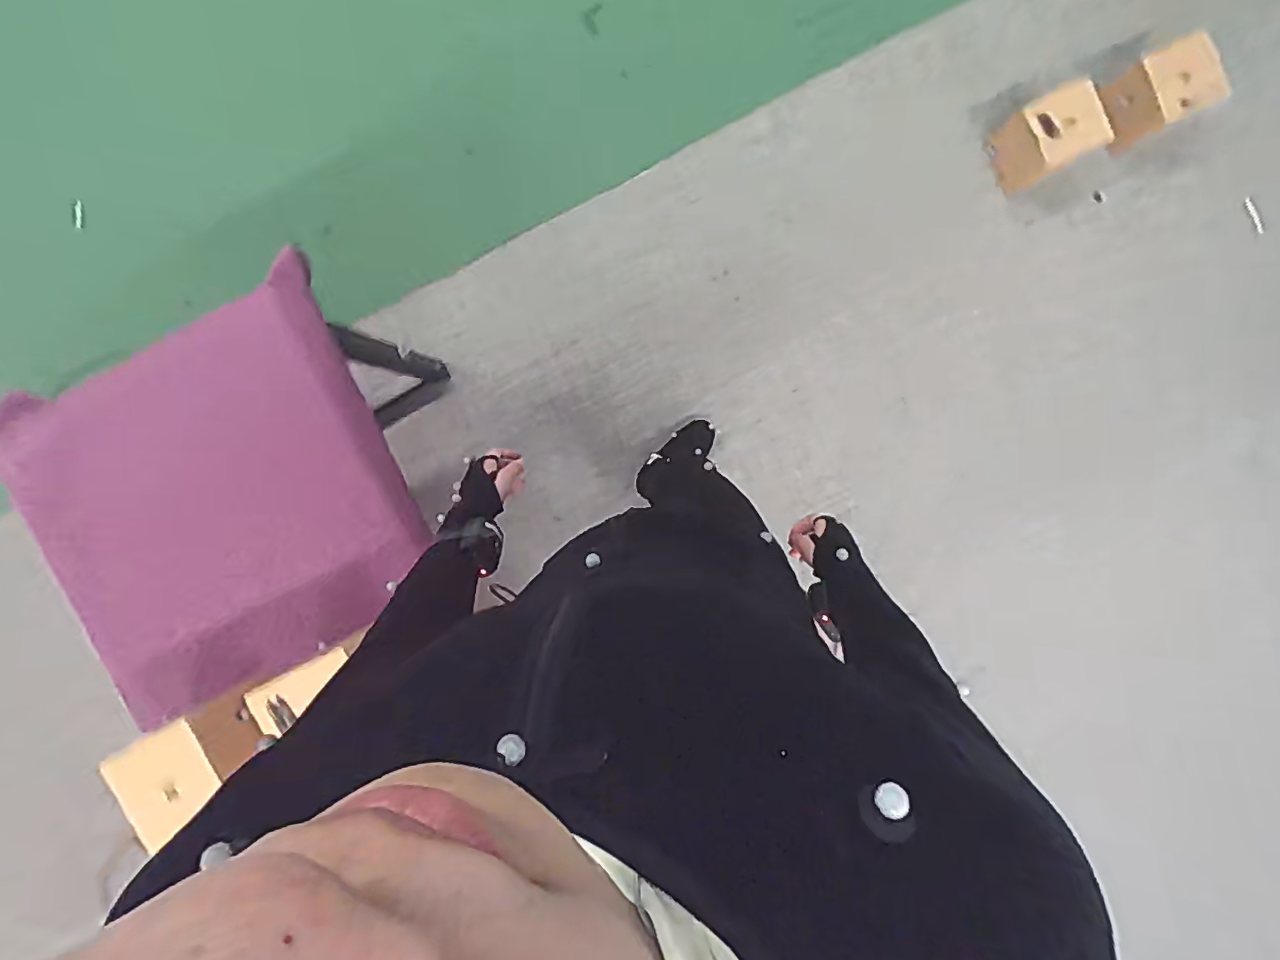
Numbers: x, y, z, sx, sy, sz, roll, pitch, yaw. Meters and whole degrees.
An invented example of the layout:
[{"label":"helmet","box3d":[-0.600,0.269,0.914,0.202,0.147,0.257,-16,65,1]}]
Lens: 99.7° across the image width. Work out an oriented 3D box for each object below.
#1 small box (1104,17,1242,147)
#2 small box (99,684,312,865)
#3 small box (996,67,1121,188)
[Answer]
[{"label":"small box","box3d":[1.333,-0.998,1.373,0.168,0.176,0.179,-23,91,5]},{"label":"small box","box3d":[-0.687,0.457,0.876,0.168,0.176,0.179,-28,92,5]},{"label":"small box","box3d":[1.063,-0.896,1.396,0.179,0.176,0.168,-25,92,4]}]
